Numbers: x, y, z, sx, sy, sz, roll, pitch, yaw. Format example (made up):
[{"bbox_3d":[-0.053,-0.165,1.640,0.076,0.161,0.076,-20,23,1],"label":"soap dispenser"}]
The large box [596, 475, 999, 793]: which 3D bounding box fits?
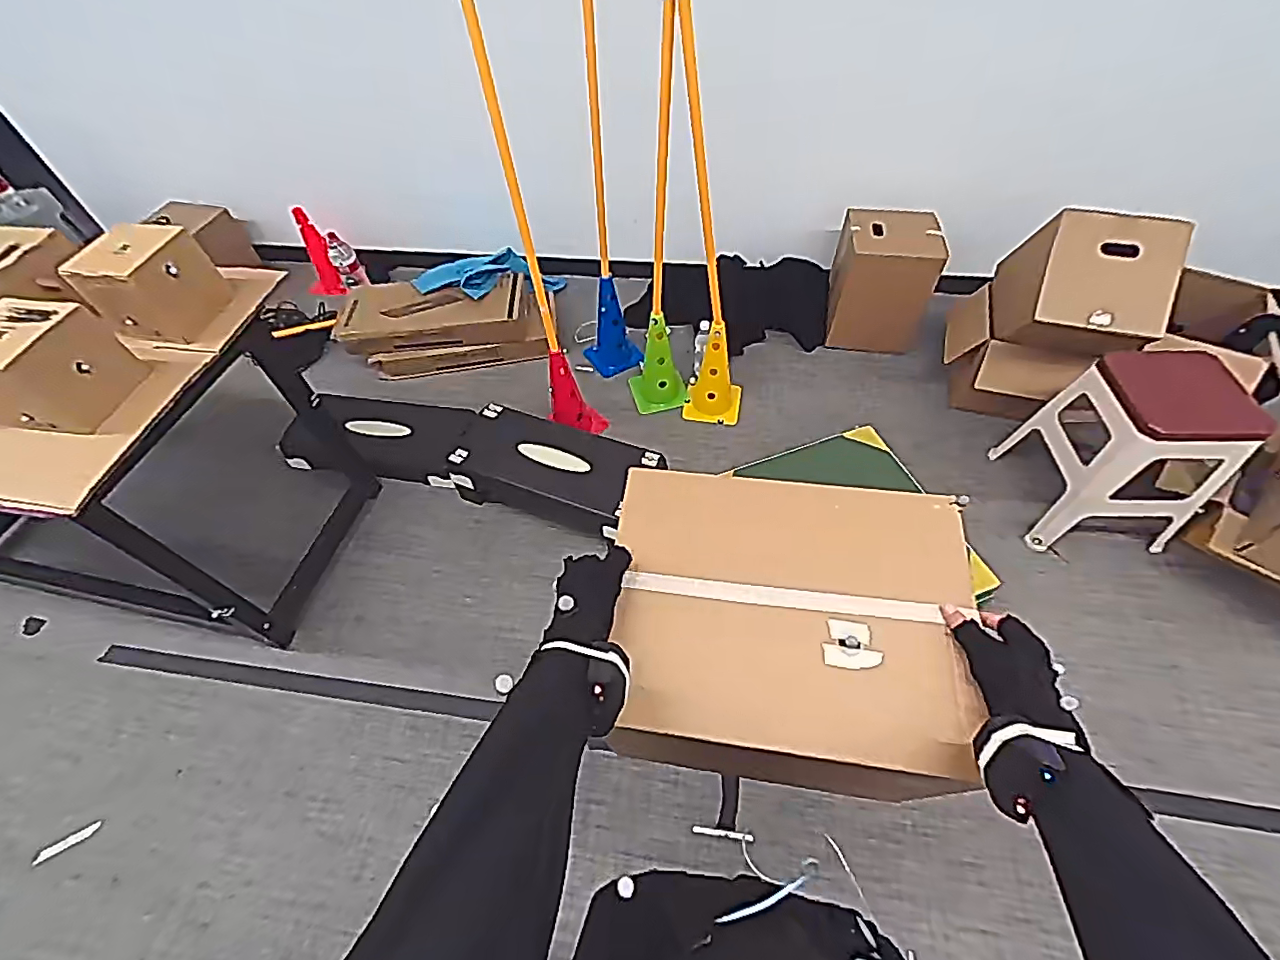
[{"bbox_3d":[0.177,0.217,0.741,0.408,0.320,0.320,6,59,8],"label":"large box"}]
